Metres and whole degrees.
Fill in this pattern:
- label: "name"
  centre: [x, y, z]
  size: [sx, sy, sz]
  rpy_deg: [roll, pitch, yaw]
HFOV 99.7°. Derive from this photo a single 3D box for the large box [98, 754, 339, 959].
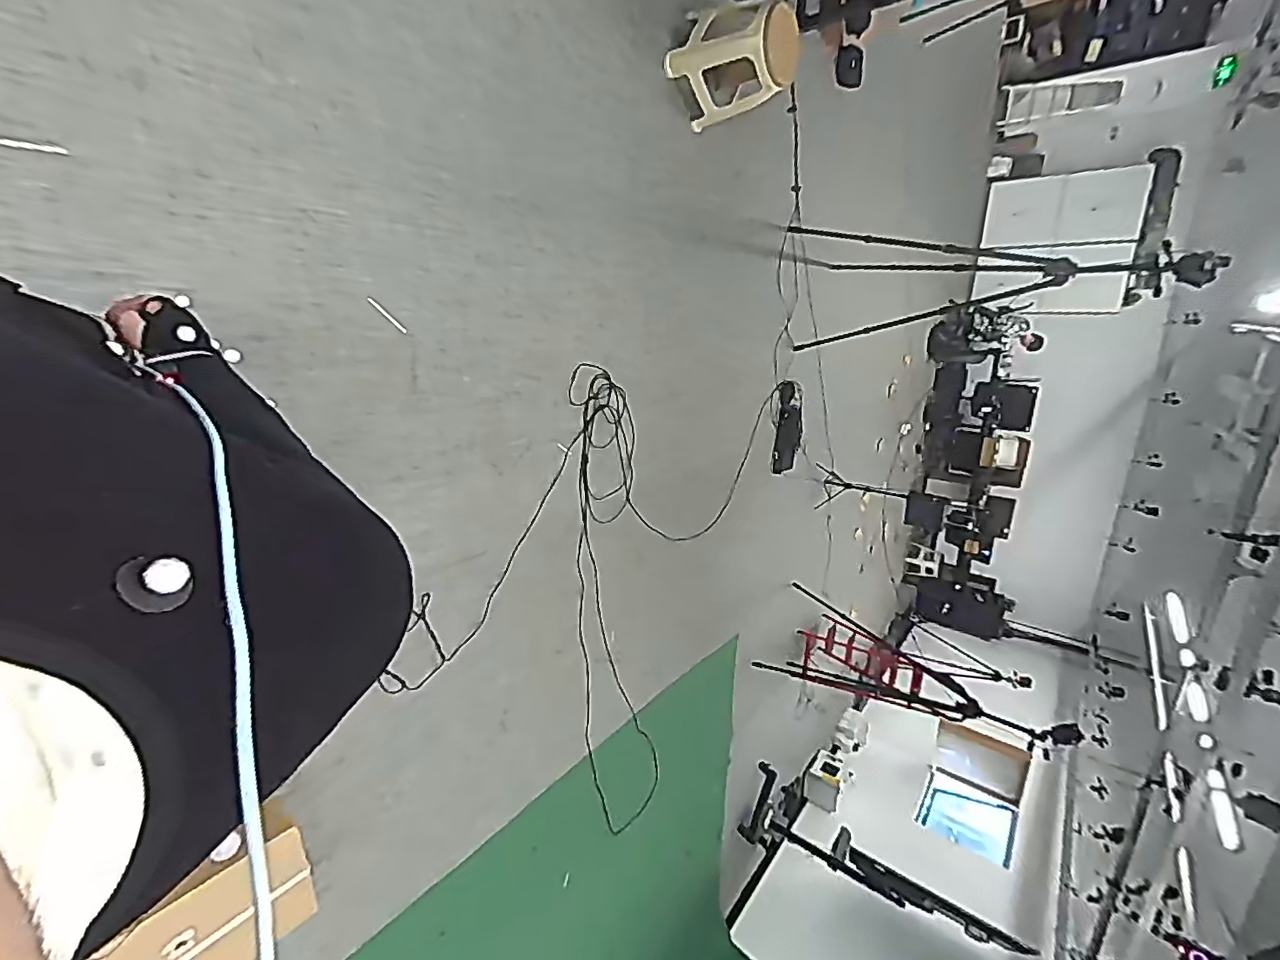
- label: "large box"
  centre: [-1.089, 1.028, 1.422]
  size: [0.408, 0.320, 0.320]
  rpy_deg: [-21, 116, -46]
